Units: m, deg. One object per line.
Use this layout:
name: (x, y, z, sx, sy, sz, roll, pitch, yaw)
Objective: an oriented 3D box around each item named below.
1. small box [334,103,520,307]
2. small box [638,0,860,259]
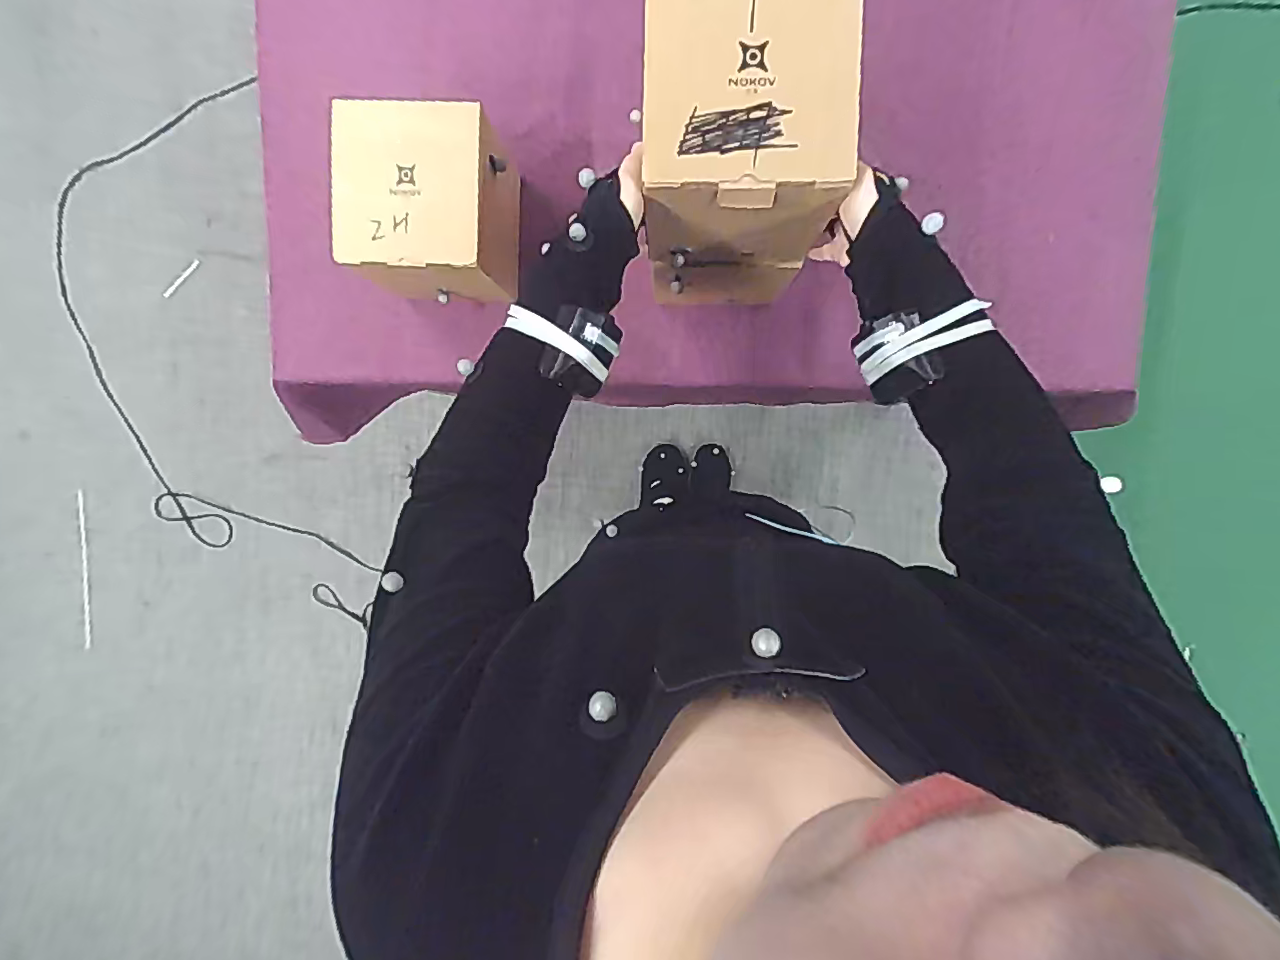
small box: (-0.252, -0.328, 0.673, 0.168, 0.176, 0.179, 3, 95, 3)
small box: (0.087, -0.315, 0.492, 0.168, 0.176, 0.179, 1, 92, 3)
